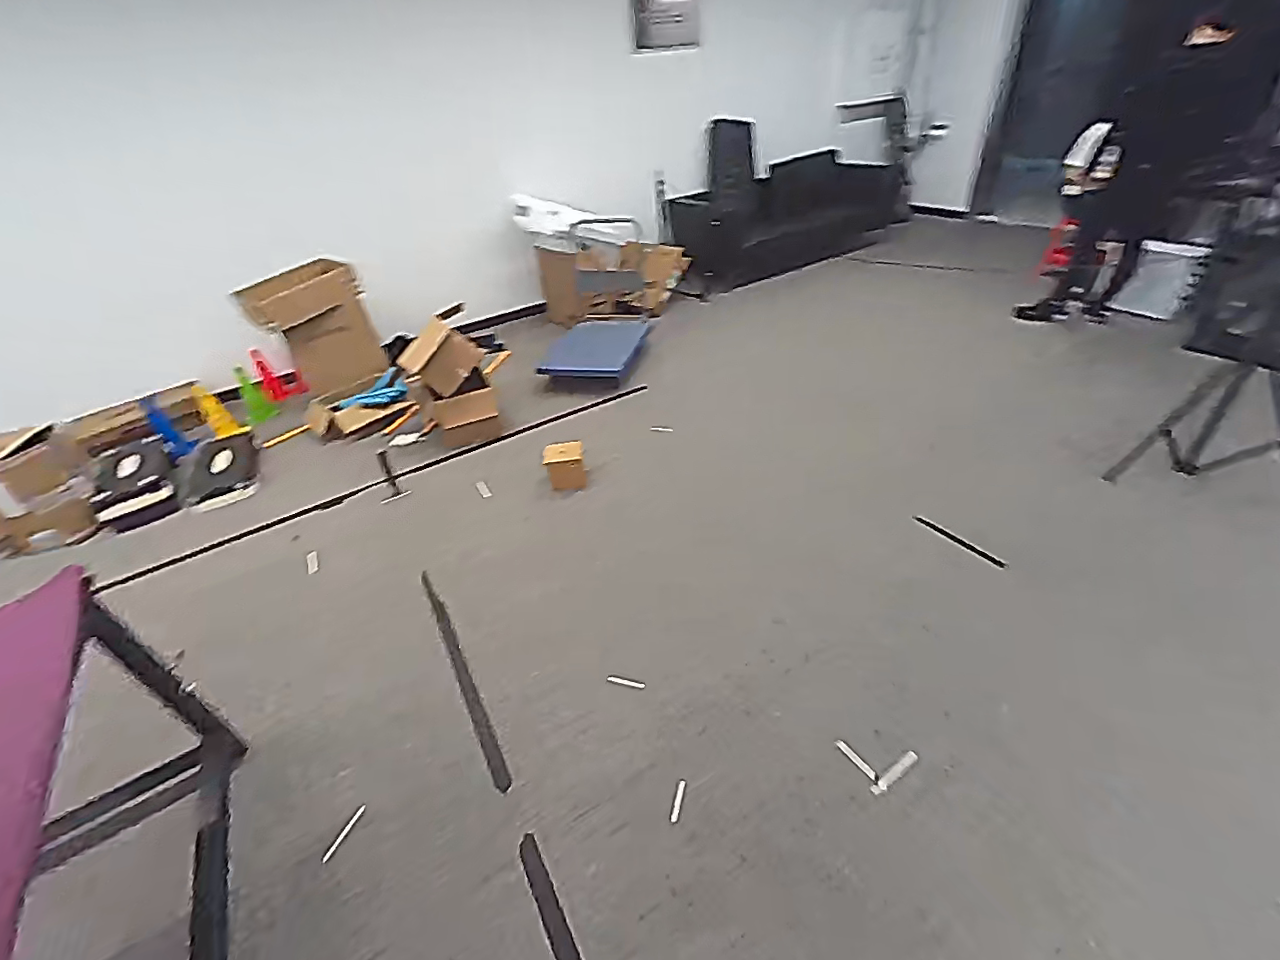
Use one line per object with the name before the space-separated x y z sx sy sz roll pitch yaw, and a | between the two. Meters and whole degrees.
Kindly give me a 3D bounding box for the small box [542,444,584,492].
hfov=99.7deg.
small box | -0.377 -0.054 2.665 0.179 0.176 0.168 -8 35 -3
